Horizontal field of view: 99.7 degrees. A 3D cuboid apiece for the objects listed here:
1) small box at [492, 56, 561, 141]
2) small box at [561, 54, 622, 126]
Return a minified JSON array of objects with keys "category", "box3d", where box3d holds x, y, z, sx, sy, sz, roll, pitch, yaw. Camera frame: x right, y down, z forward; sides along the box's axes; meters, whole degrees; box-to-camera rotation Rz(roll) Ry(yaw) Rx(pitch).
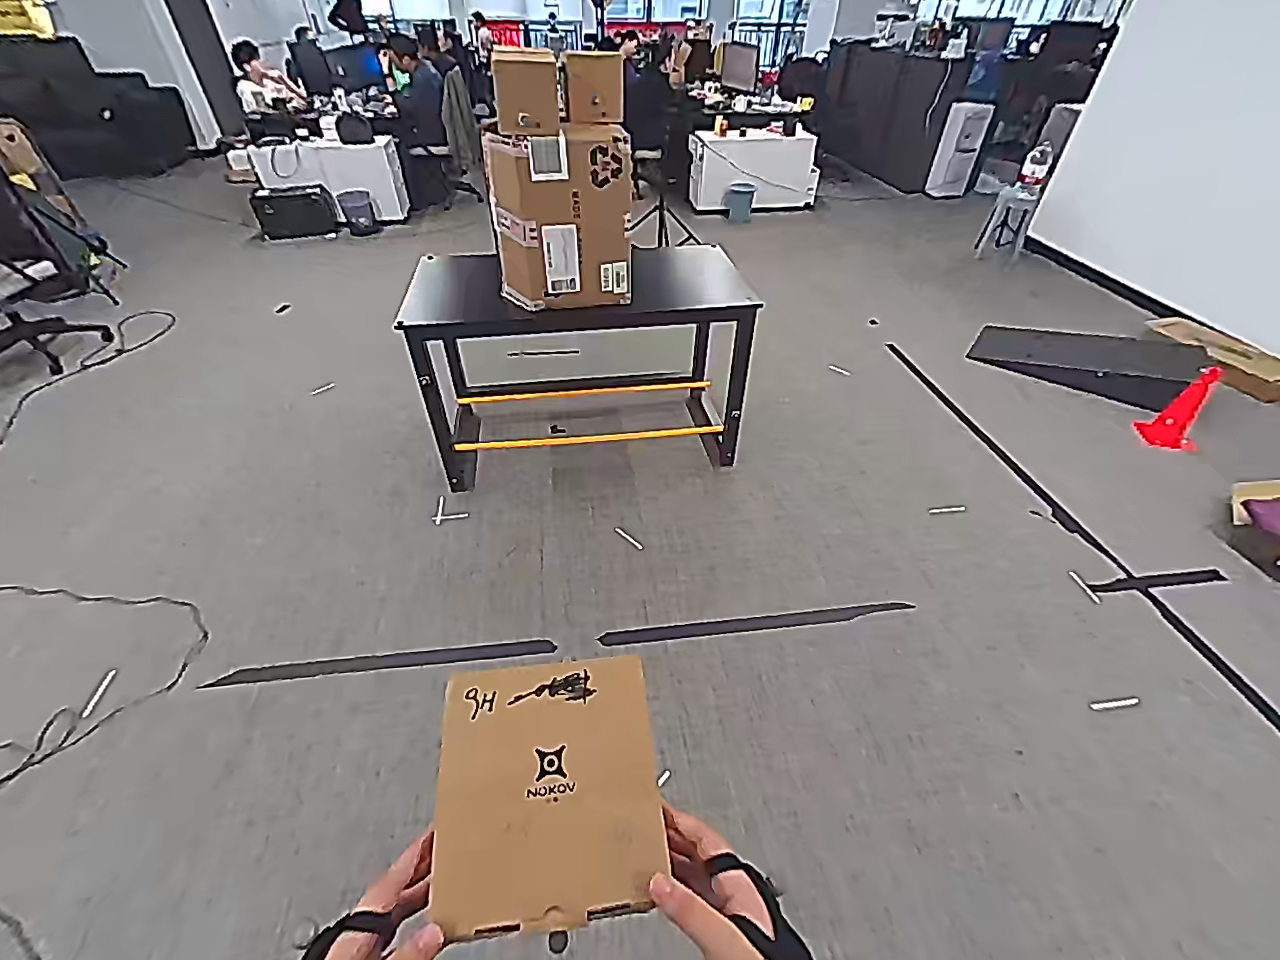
[{"category":"small box","box3d":[-0.311,-1.046,1.483,0.168,0.176,0.179,-7,44,-10]},{"category":"small box","box3d":[-0.151,-1.203,1.667,0.168,0.176,0.179,-8,40,-9]}]
